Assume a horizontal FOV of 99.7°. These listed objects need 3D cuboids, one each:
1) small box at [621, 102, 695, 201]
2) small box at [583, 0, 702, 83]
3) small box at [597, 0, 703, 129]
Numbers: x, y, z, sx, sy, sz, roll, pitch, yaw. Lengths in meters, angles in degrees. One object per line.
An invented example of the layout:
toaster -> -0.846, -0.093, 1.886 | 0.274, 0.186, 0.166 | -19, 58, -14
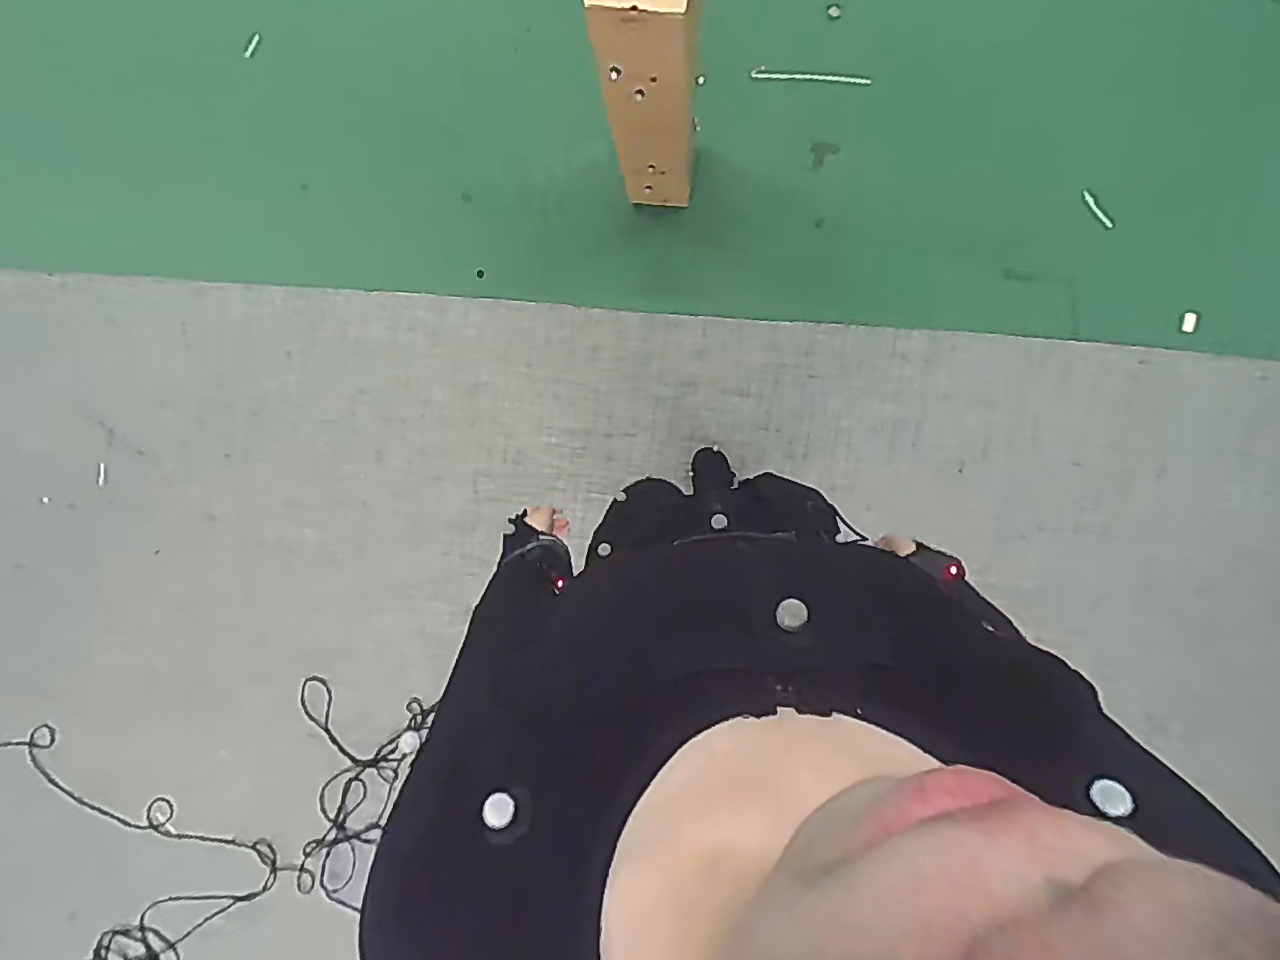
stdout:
small box -> 0.052, -0.849, 1.400 | 0.168, 0.176, 0.179 | 7, 92, 5
small box -> 0.014, -0.817, 0.910 | 0.168, 0.176, 0.179 | 12, 92, 5
small box -> 0.025, -0.833, 1.073 | 0.179, 0.176, 0.168 | 10, 93, 5
